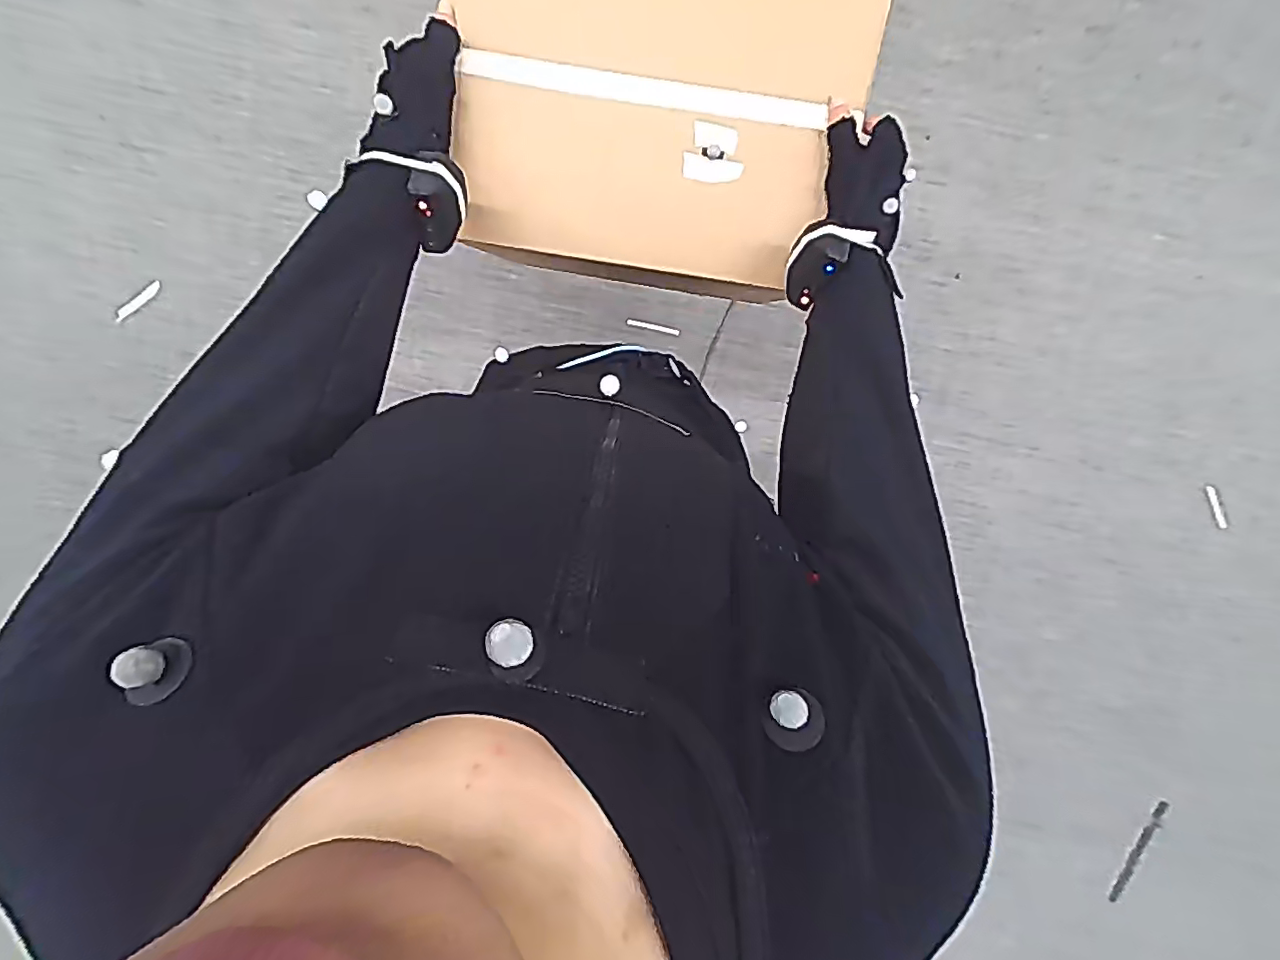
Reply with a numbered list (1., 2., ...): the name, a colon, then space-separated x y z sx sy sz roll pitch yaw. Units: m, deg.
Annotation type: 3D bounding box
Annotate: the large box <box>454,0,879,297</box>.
1. large box: 0.015 -0.420 0.680 0.408 0.320 0.320 8 108 -2
